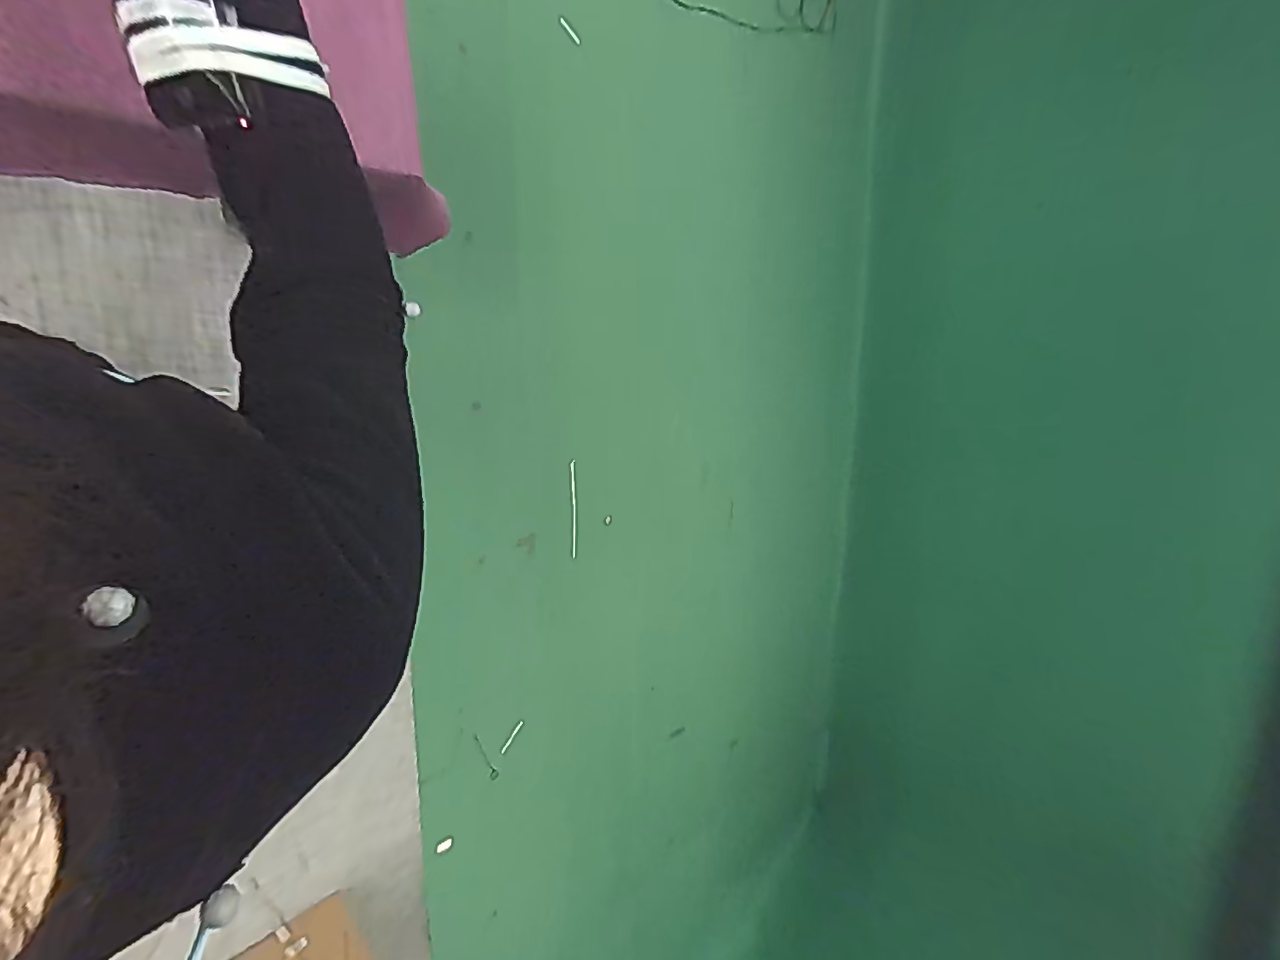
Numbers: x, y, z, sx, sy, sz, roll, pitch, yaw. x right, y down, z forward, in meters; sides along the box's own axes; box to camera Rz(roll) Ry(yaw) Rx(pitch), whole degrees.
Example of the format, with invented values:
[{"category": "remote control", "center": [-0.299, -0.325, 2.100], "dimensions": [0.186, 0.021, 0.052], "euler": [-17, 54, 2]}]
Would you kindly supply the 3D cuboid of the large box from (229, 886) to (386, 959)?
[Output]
[{"category": "large box", "center": [-0.859, 1.410, 1.411], "dimensions": [0.320, 0.320, 0.408], "euler": [-14, 109, -45]}]
